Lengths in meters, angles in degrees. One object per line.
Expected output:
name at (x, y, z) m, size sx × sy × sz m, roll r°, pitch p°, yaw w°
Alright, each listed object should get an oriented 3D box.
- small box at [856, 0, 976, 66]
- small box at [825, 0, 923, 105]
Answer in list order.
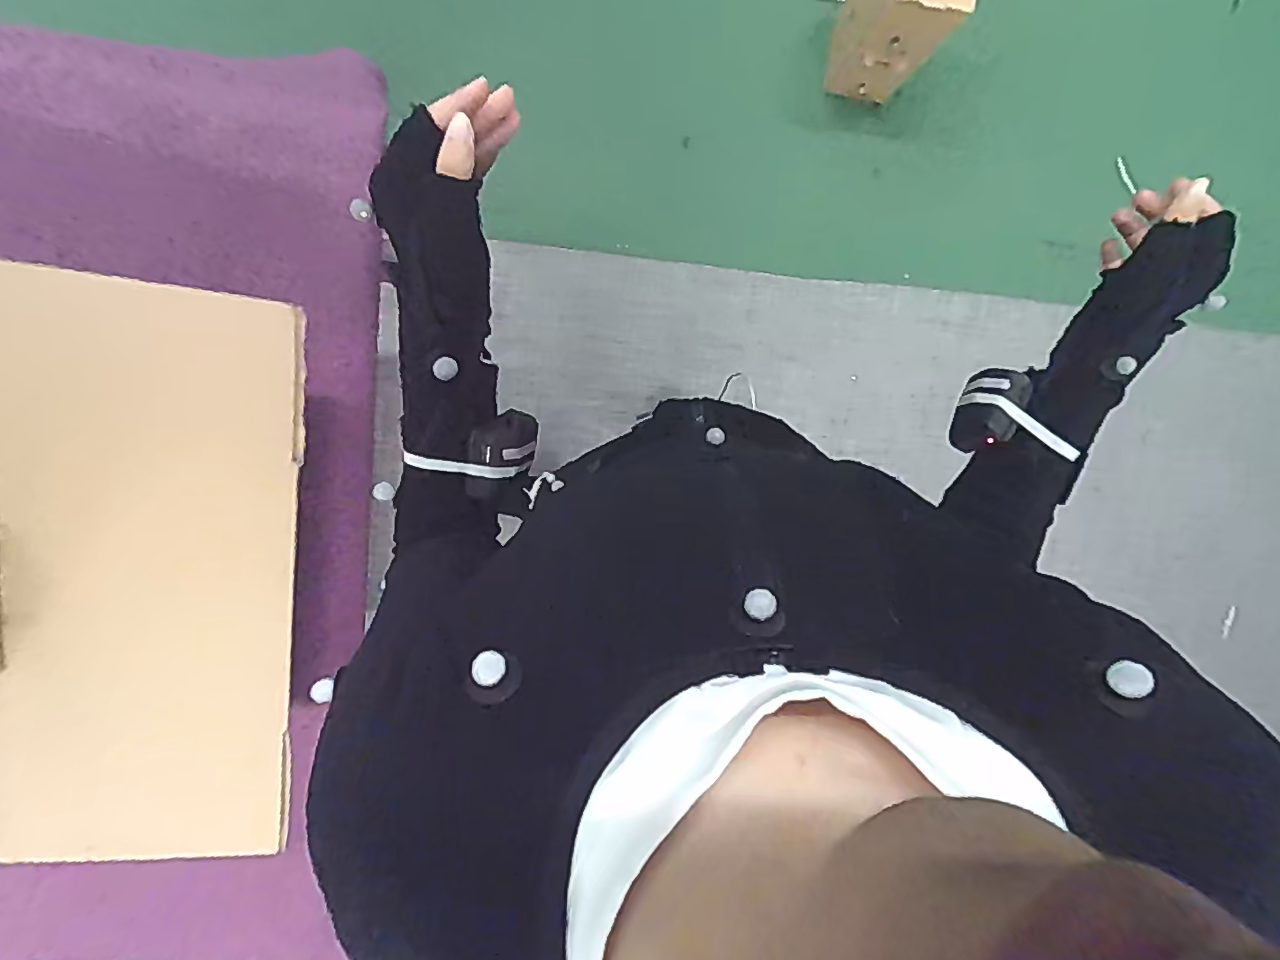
small box at (0.562, -0.997, 1.099) m, size 0.168 × 0.176 × 0.179 m, roll 5°, pitch 99°, yaw -6°
small box at (0.552, -1.023, 1.260) m, size 0.168 × 0.176 × 0.179 m, roll 7°, pitch 99°, yaw -5°
